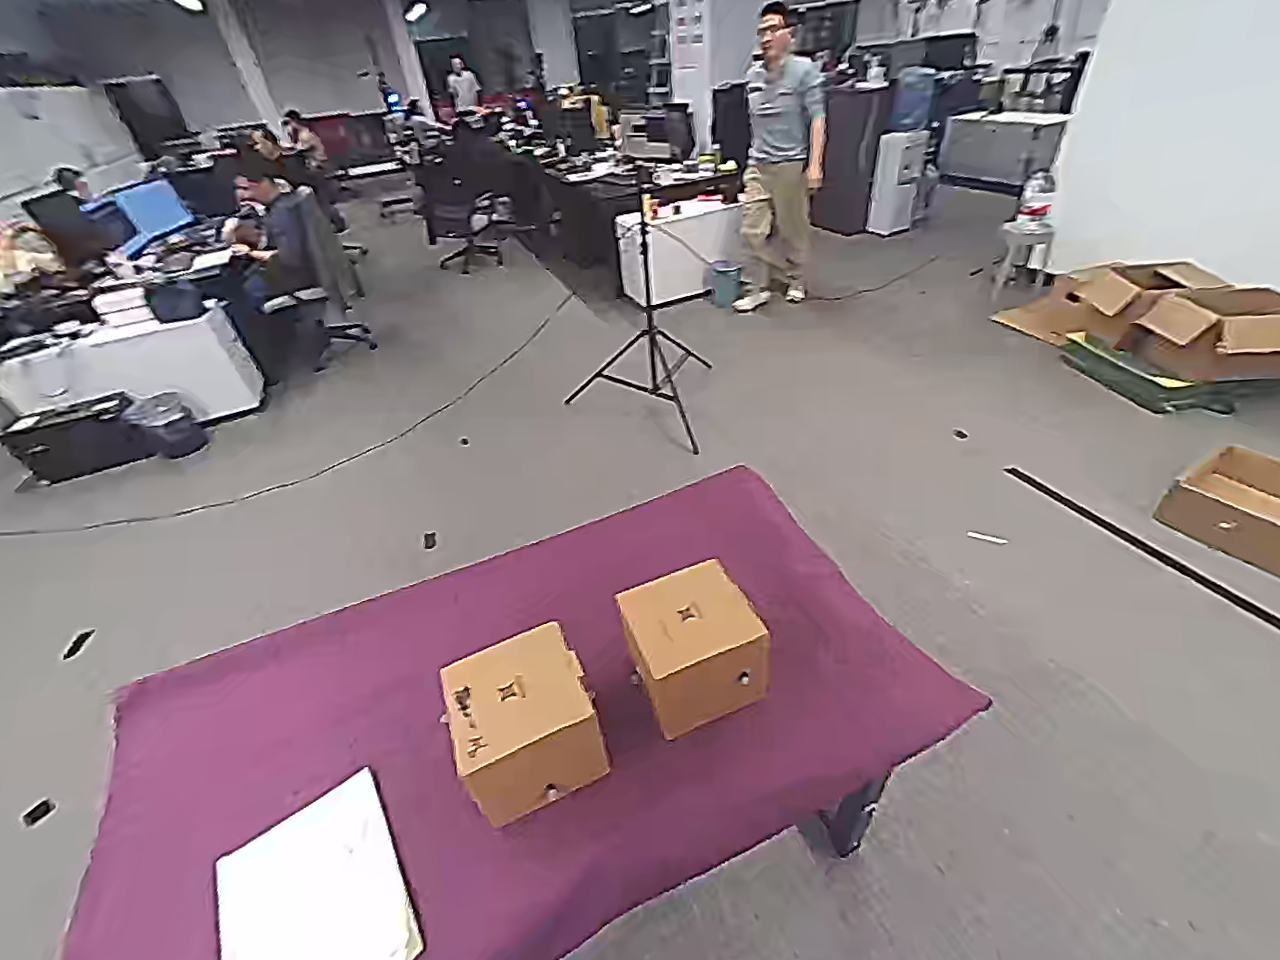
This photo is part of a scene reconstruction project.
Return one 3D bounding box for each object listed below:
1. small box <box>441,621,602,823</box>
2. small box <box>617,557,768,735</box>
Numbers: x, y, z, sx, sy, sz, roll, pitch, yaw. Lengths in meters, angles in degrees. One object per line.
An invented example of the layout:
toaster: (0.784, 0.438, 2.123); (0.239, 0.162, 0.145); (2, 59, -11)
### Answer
small box: (-0.162, 0.341, 0.769); (0.179, 0.176, 0.168); (-19, 39, -16)
small box: (0.080, 0.256, 0.841); (0.179, 0.176, 0.168); (-19, 38, -12)
